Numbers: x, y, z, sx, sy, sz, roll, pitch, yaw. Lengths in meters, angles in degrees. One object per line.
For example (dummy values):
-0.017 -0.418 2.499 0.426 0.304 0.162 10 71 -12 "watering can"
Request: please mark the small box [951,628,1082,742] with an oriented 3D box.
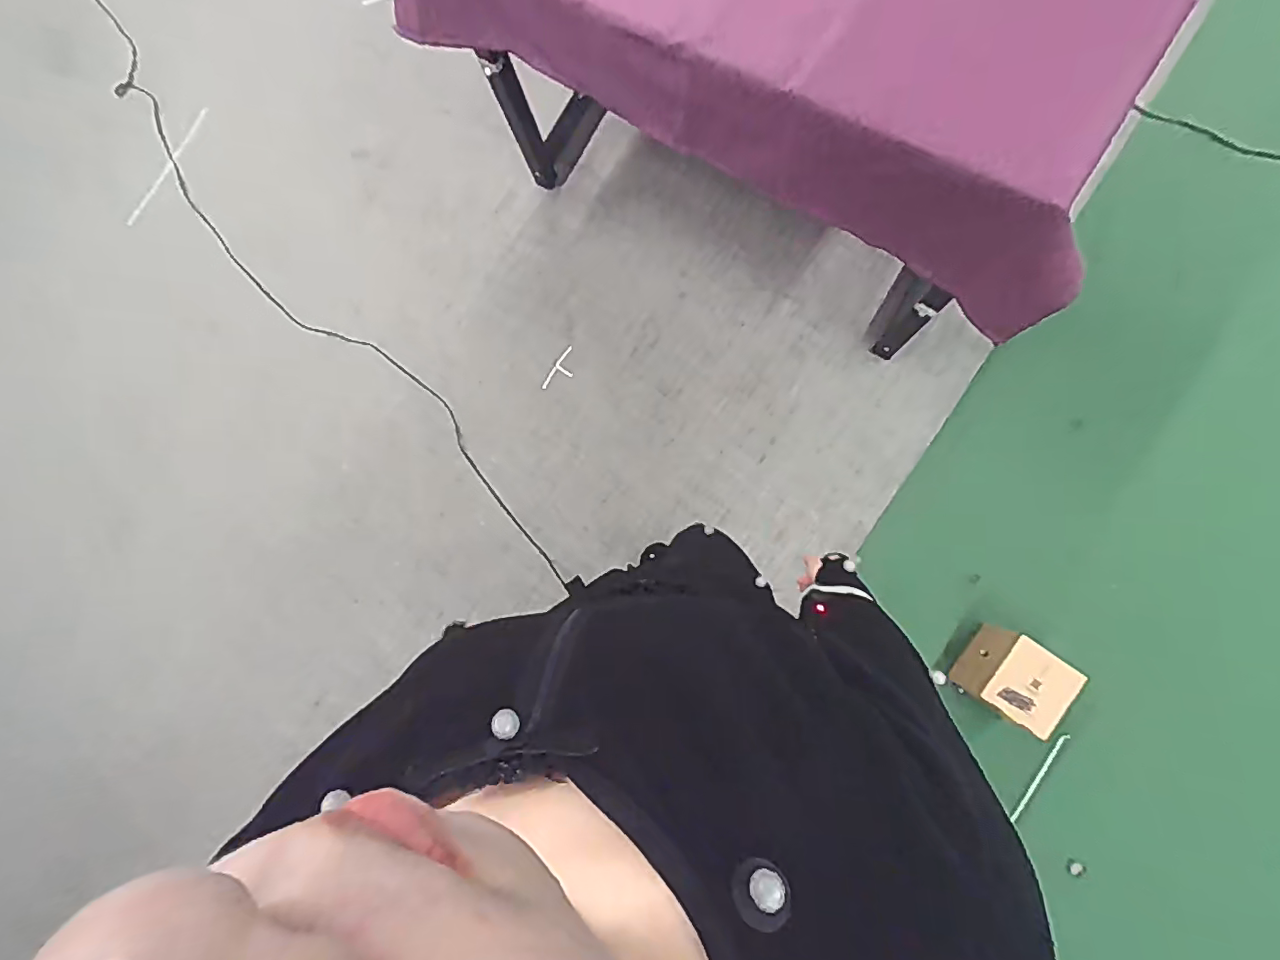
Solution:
0.889 0.482 1.301 0.168 0.176 0.179 36 88 8 "small box"
